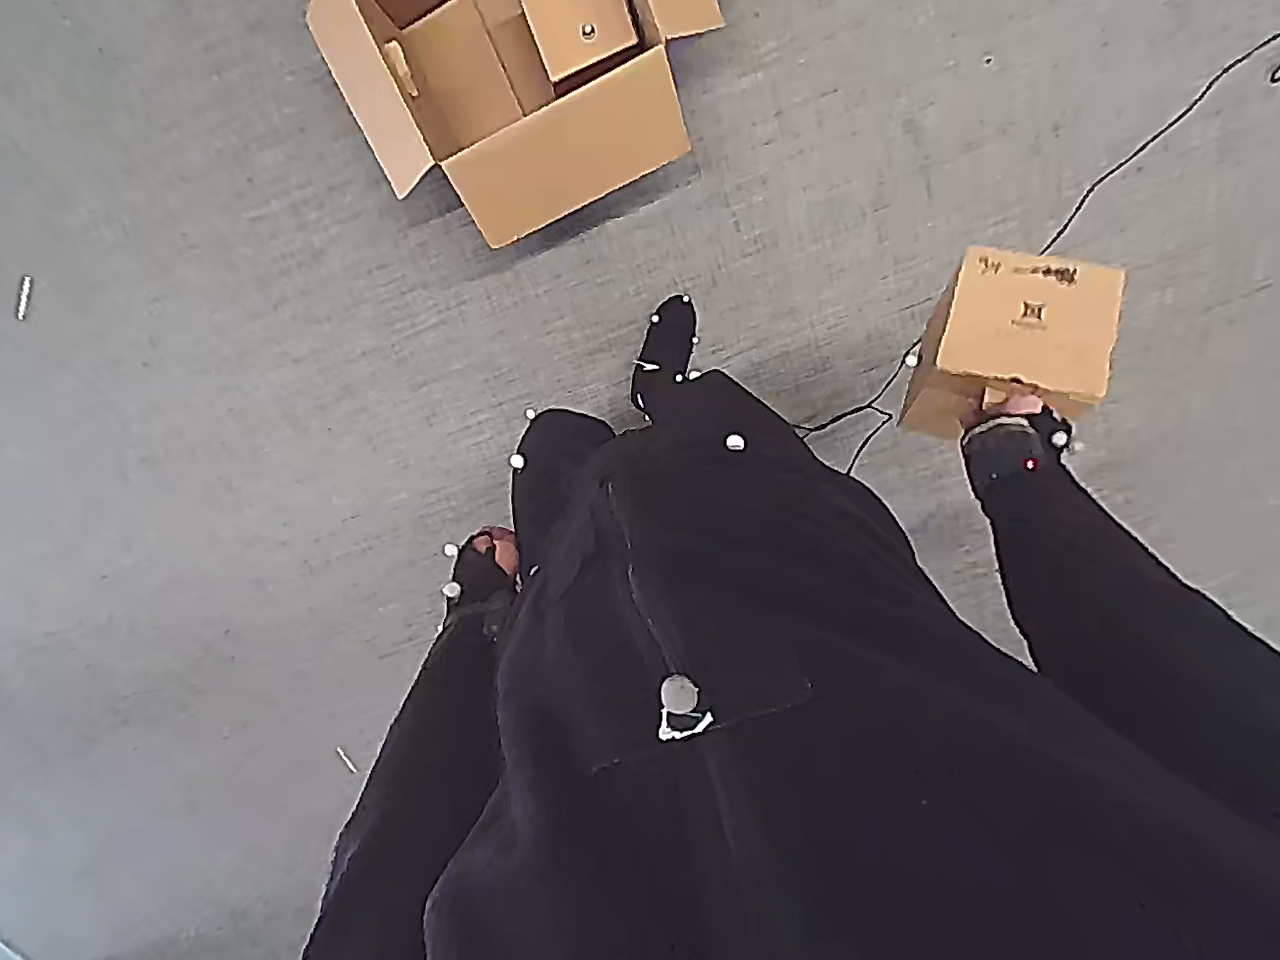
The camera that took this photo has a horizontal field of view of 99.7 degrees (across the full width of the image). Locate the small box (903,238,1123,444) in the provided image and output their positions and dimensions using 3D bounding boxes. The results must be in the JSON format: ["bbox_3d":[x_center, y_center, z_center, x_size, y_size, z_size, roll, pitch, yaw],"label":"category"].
[{"bbox_3d":[0.449,-0.165,0.679,0.168,0.176,0.179,17,77,17],"label":"small box"}]
